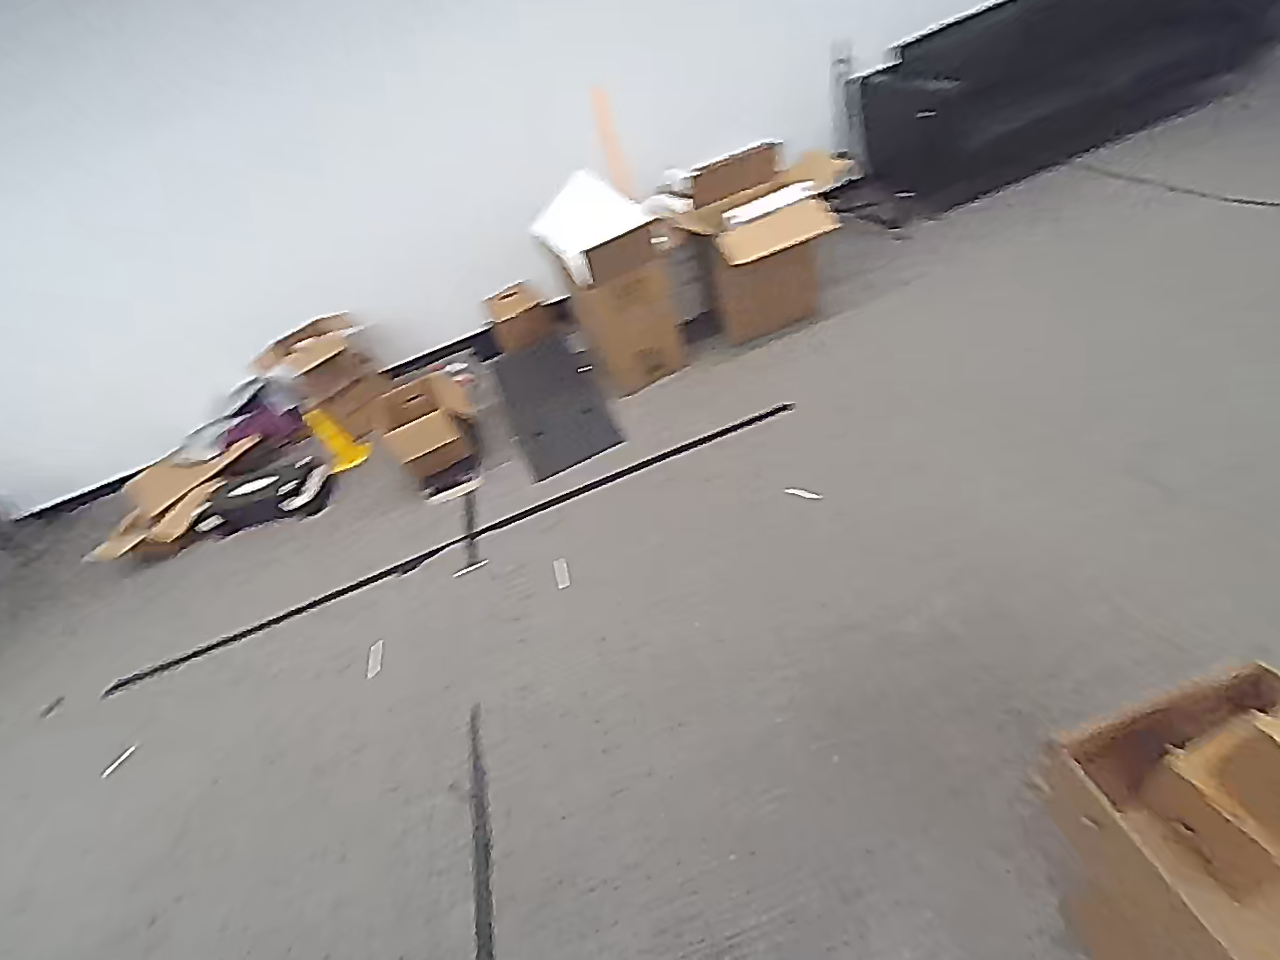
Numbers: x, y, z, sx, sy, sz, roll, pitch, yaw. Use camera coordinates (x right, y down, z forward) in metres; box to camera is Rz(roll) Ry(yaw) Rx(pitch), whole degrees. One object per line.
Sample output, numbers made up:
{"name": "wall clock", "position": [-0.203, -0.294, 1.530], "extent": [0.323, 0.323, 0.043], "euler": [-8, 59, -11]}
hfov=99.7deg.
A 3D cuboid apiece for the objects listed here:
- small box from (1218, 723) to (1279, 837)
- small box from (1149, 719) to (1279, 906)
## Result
{"name": "small box", "position": [0.926, 0.401, 0.688], "extent": [0.168, 0.176, 0.179], "euler": [-21, 42, -1]}
{"name": "small box", "position": [0.941, 0.504, 0.819], "extent": [0.179, 0.176, 0.168], "euler": [-25, 41, -4]}
